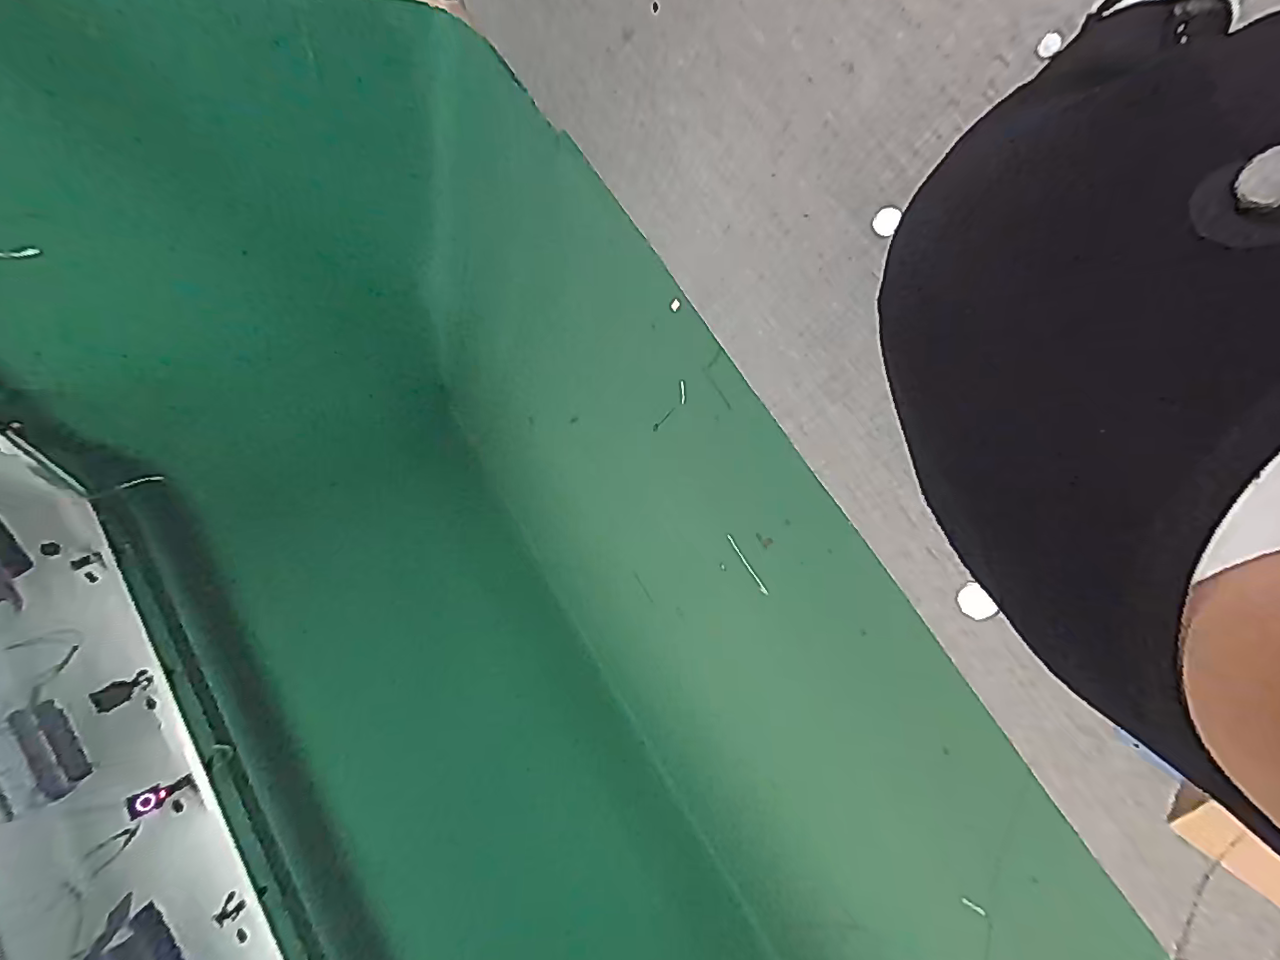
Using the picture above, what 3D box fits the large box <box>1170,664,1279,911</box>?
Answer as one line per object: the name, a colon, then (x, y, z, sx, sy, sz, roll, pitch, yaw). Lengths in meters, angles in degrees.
large box: (1.201, 0.554, 0.855, 0.408, 0.320, 0.320, 36, 139, 35)
